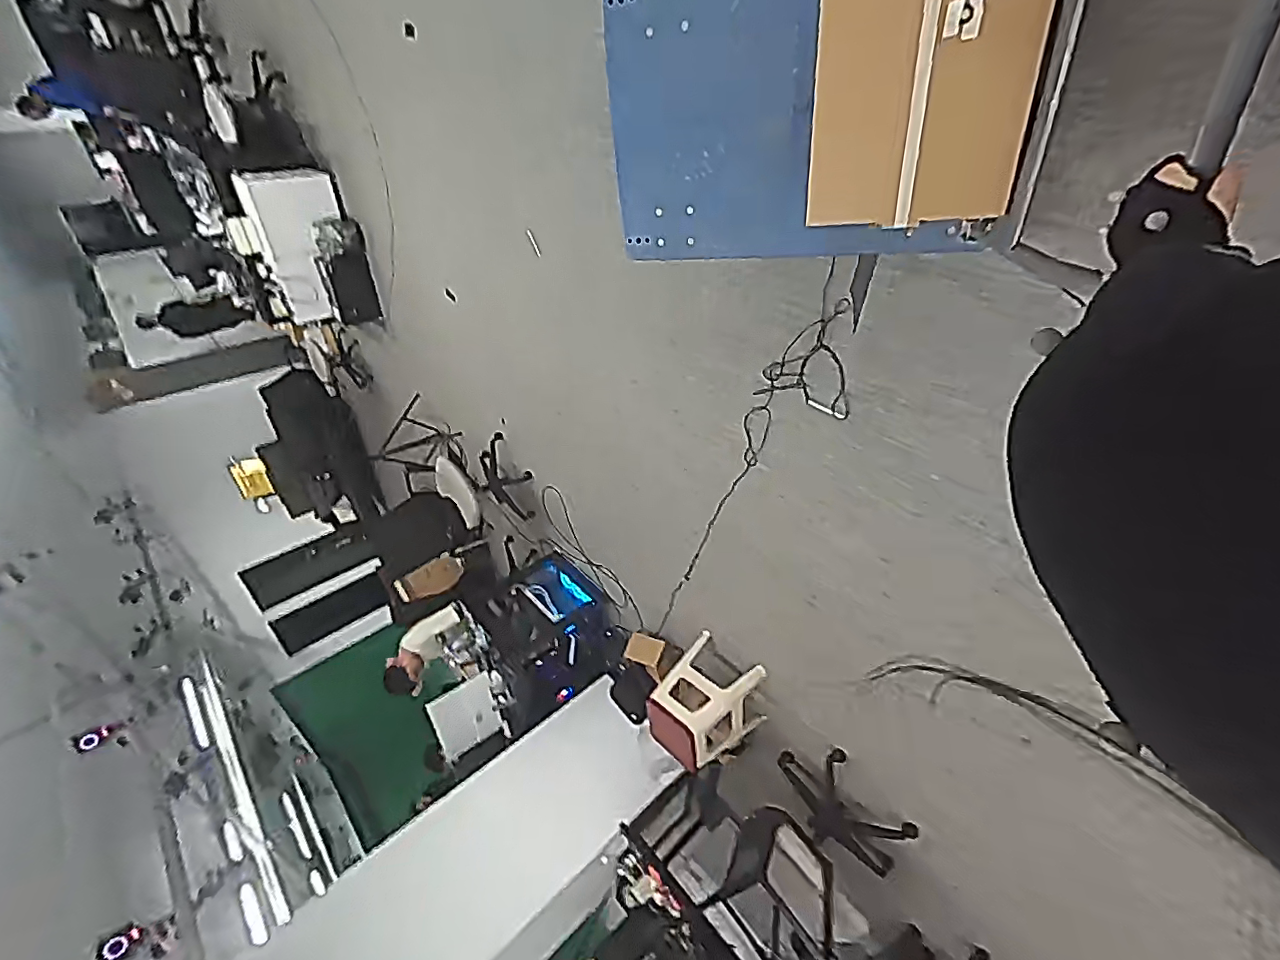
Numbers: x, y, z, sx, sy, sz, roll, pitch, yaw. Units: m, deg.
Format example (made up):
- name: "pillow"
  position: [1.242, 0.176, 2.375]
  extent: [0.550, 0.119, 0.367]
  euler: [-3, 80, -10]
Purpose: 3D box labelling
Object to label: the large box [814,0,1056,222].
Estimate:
- name: "large box"
  position: [0.492, -0.694, 0.946]
  extent: [0.320, 0.320, 0.408]
  euler: [6, 121, 21]
